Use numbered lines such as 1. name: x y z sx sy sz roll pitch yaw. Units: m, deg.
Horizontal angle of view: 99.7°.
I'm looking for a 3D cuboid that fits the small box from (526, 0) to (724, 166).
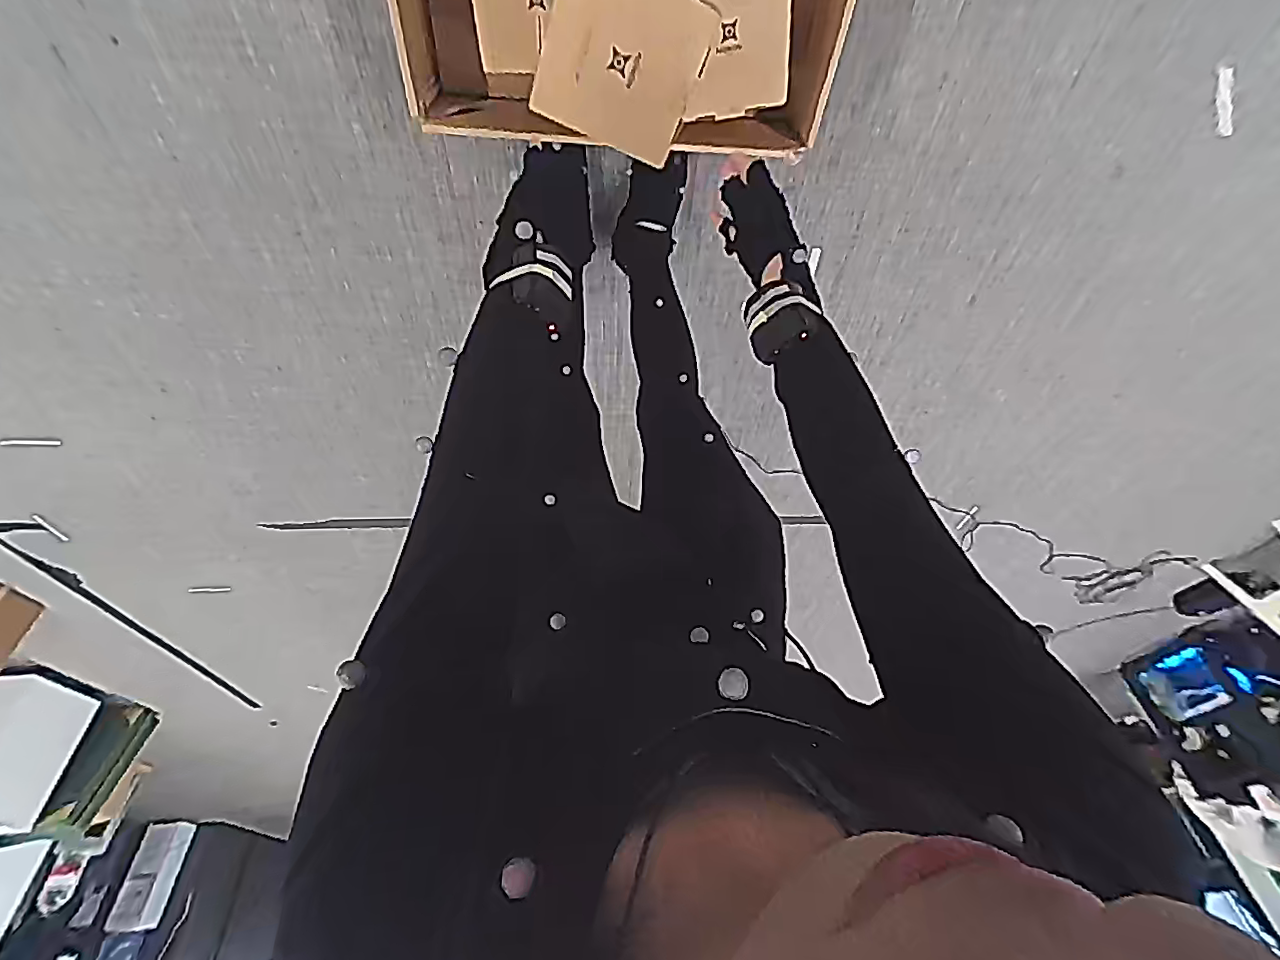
1. small box: -0.024 -0.522 0.655 0.179 0.176 0.168 16 130 -18
